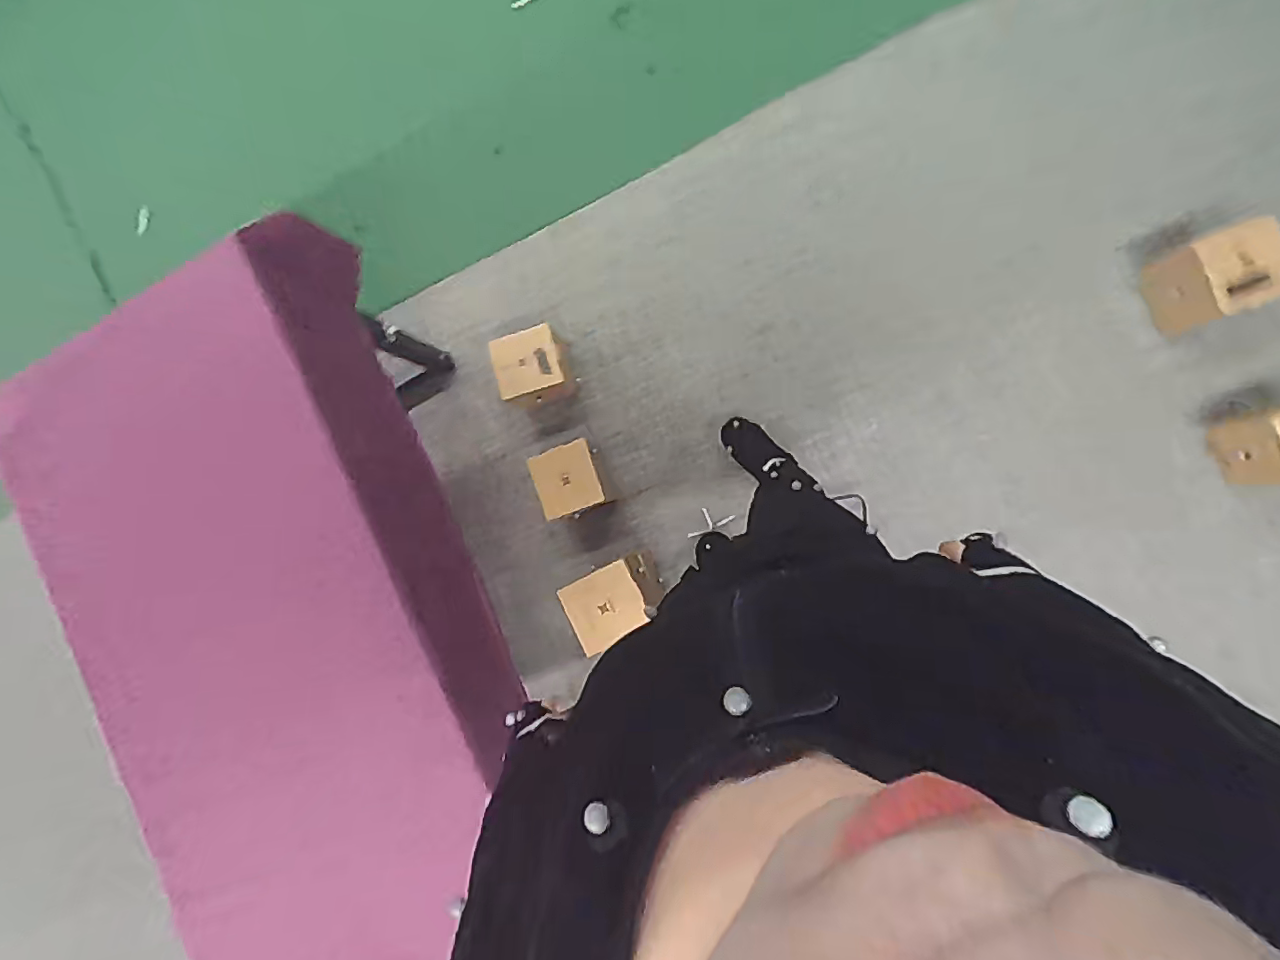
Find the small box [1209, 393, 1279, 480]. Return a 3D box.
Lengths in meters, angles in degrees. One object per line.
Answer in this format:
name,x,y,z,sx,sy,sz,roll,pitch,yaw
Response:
small box,1.452,-0.102,1.211,0.179,0.176,0.168,-22,86,8

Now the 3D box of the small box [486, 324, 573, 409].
small box,-0.295,-0.307,1.495,0.179,0.176,0.168,-16,86,9
